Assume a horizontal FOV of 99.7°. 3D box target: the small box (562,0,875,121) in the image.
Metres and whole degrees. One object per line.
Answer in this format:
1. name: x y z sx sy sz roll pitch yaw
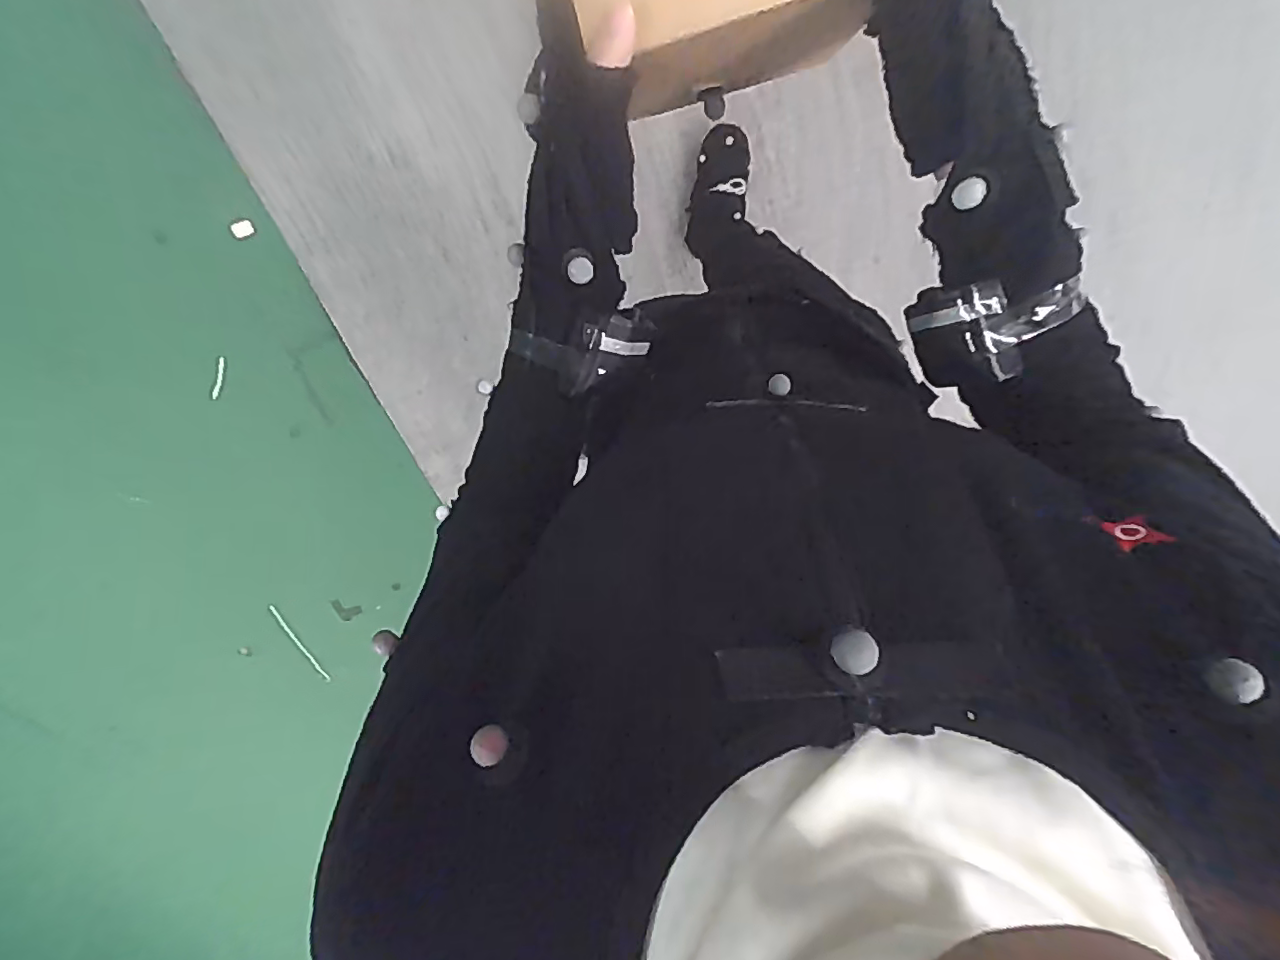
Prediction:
1. small box: 0.032 -0.335 0.302 0.168 0.176 0.179 -11 114 10
